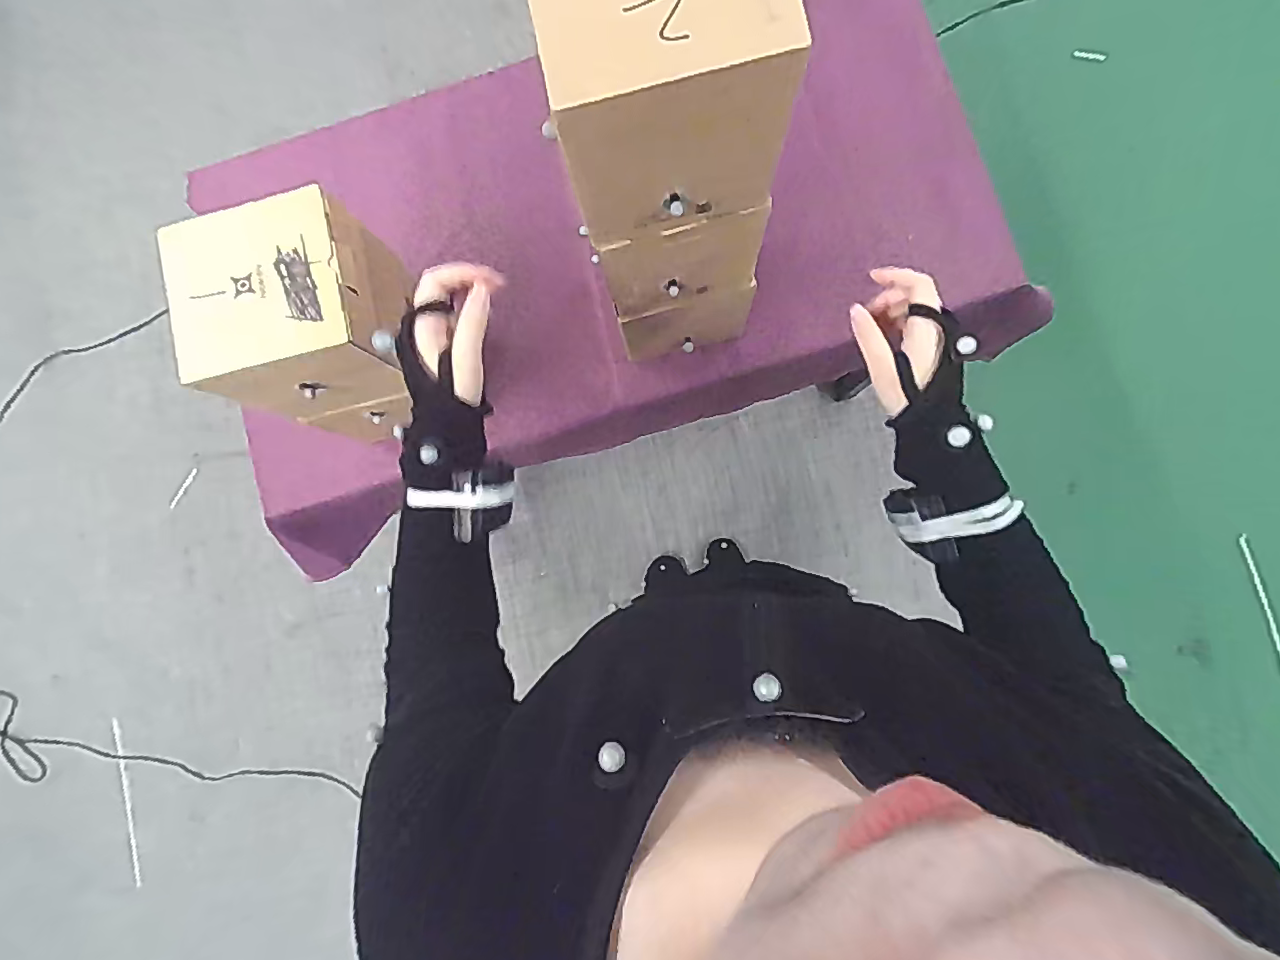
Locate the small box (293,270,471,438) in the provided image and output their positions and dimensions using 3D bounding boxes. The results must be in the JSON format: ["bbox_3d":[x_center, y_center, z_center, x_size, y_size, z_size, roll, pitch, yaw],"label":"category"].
[{"bbox_3d":[-0.364,-0.164,0.765,0.179,0.176,0.168,-13,85,2],"label":"small box"}]

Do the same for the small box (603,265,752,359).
[{"bbox_3d":[0.039,-0.286,0.748,0.179,0.176,0.168,-14,84,2],"label":"small box"}]

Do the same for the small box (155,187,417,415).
[{"bbox_3d":[-0.371,-0.182,0.602,0.179,0.176,0.168,-14,85,3],"label":"small box"}]

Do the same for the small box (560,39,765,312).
[{"bbox_3d":[0.023,-0.311,0.588,0.168,0.176,0.179,-14,85,3],"label":"small box"}]
